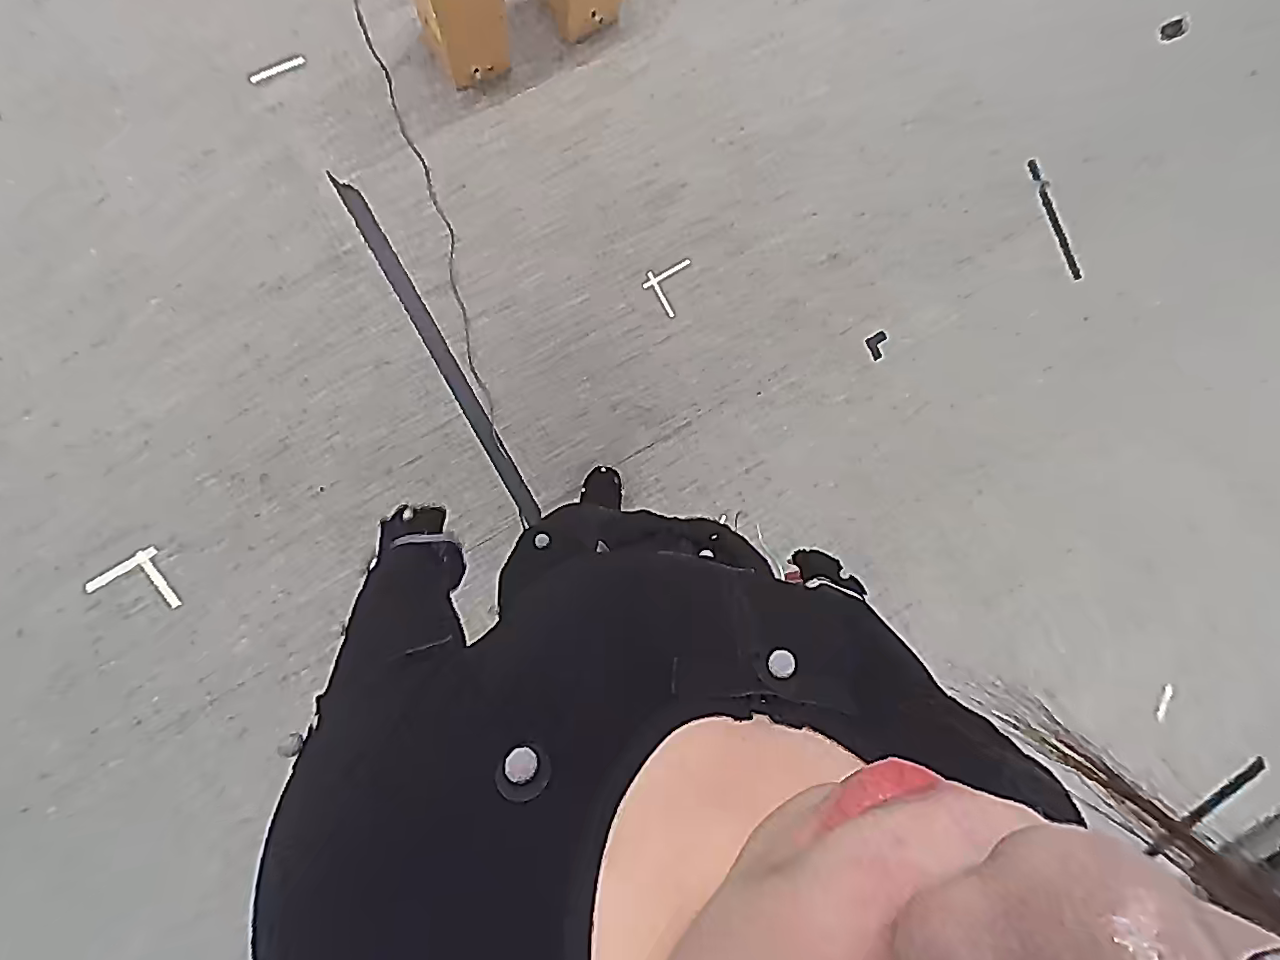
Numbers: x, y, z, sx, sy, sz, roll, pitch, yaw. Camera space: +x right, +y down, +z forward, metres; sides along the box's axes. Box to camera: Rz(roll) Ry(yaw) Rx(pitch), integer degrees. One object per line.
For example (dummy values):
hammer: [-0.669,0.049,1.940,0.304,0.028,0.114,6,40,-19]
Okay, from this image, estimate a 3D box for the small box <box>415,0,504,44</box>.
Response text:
small box: [-0.413,-1.101,1.163,0.179,0.176,0.168,-32,96,-7]

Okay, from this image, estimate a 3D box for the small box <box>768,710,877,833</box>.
small box: [0.435,0.705,1.328,0.179,0.176,0.168,-26,96,-8]

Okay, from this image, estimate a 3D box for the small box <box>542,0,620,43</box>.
small box: [-0.158,-1.271,1.363,0.168,0.176,0.179,-32,96,-7]

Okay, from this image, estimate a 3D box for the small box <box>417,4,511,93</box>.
small box: [-0.432,-1.109,1.324,0.168,0.176,0.179,-28,96,-7]
